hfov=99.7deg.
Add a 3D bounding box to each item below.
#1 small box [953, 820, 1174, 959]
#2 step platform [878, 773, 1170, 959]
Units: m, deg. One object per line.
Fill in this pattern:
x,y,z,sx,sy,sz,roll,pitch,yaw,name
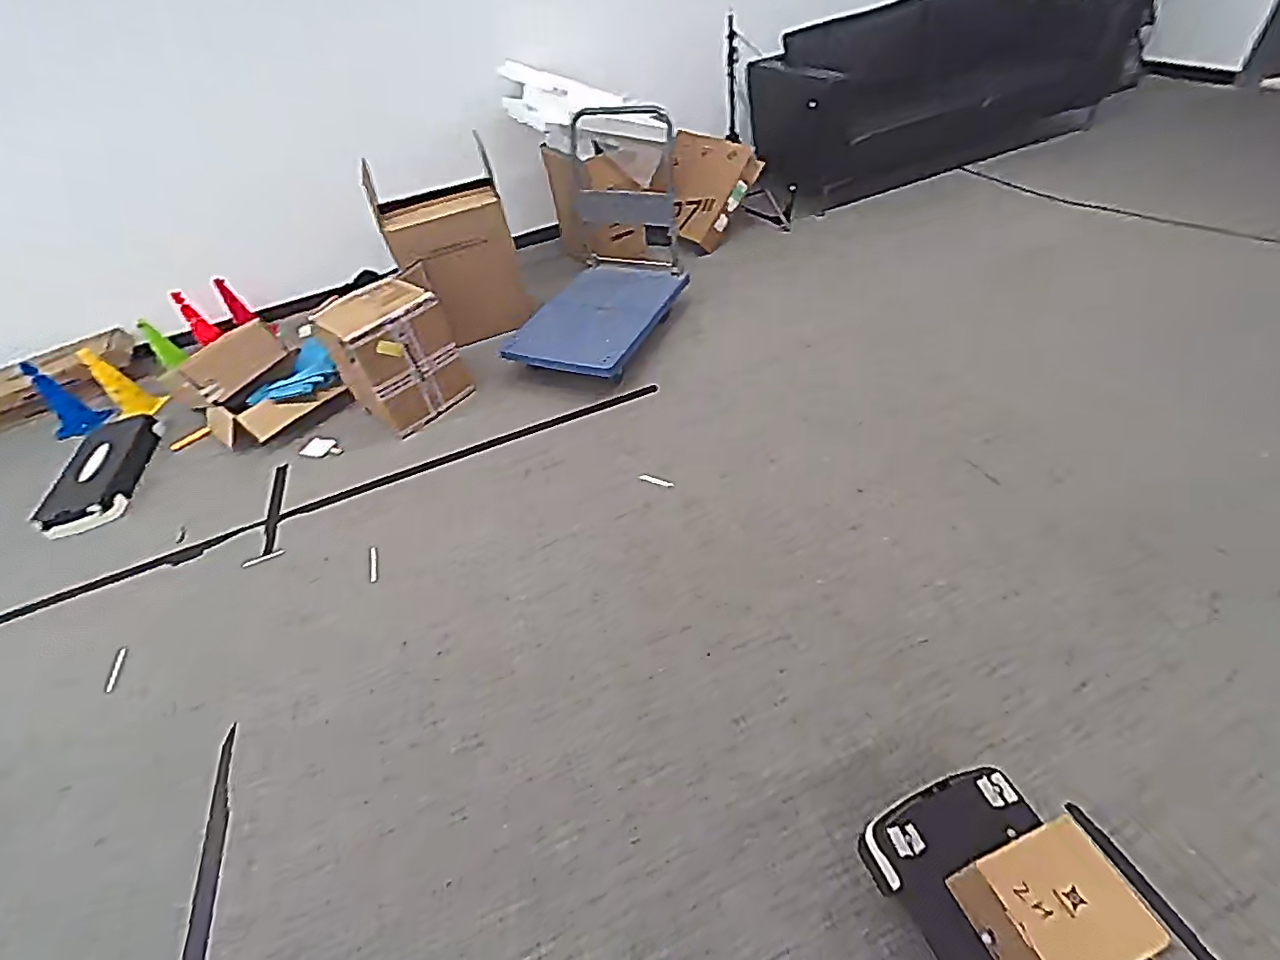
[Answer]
0.617,0.654,0.818,0.179,0.176,0.168,-19,45,-8,small box
0.706,0.854,0.850,0.286,0.204,0.684,-20,45,-9,step platform
